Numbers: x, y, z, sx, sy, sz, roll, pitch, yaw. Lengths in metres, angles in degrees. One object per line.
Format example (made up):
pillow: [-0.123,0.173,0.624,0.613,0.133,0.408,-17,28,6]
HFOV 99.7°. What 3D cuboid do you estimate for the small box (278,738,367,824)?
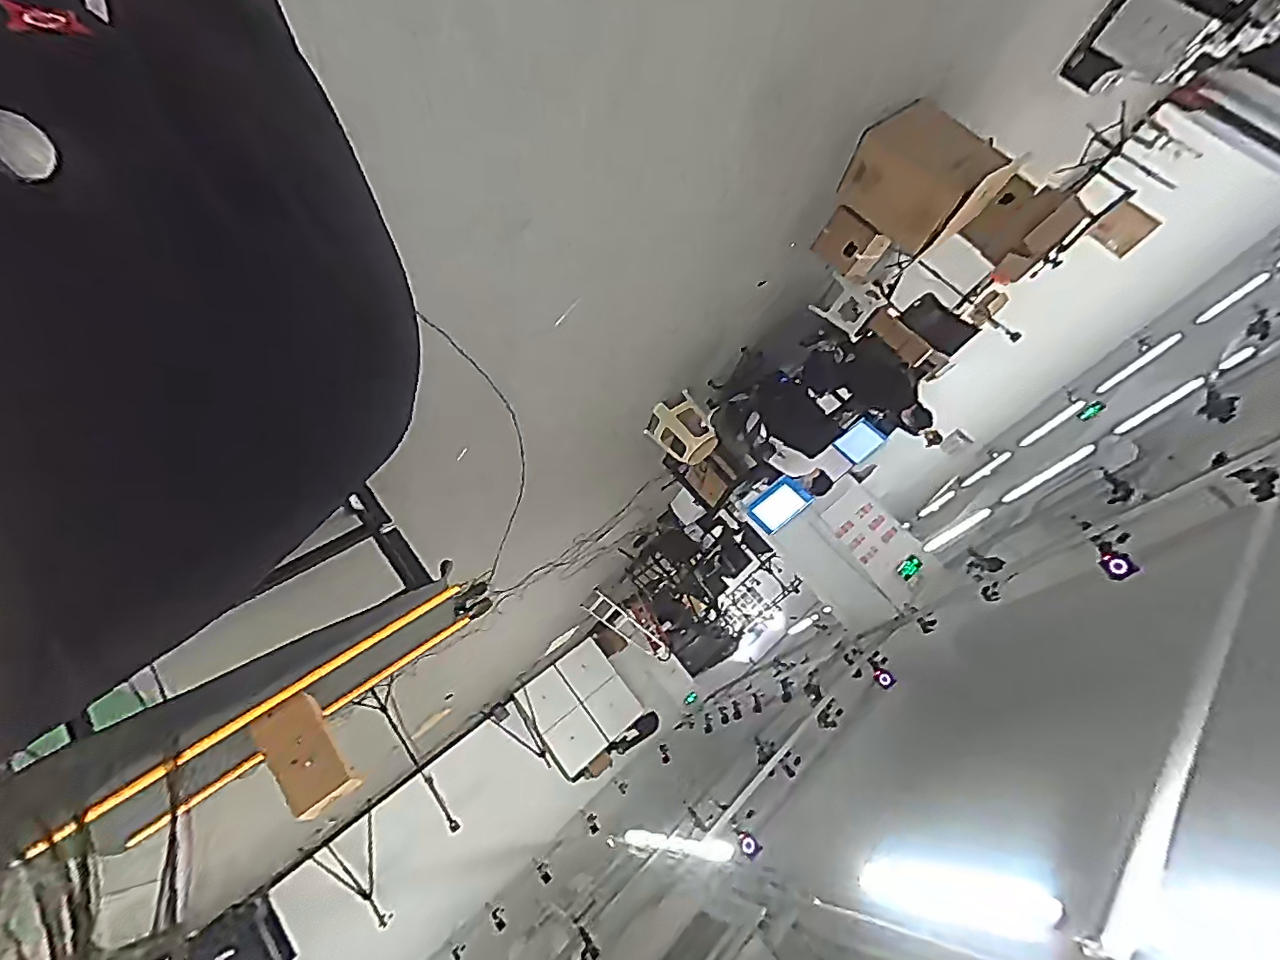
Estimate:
small box: [-0.981,0.930,1.680,0.168,0.176,0.179,-33,161,-29]

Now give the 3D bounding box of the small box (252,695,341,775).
small box: [-1.089,0.814,1.723,0.168,0.176,0.179,-34,163,-30]
